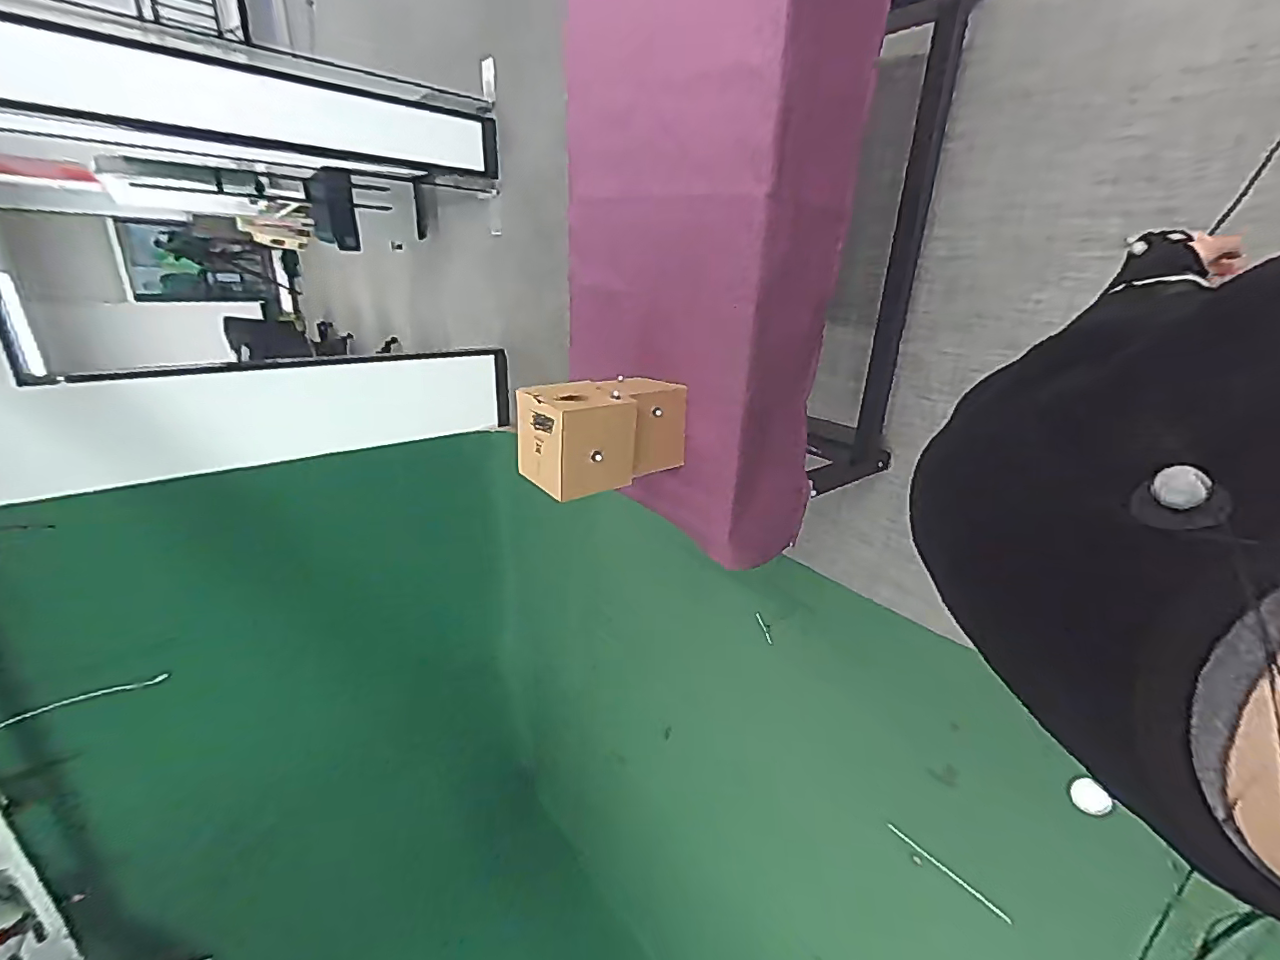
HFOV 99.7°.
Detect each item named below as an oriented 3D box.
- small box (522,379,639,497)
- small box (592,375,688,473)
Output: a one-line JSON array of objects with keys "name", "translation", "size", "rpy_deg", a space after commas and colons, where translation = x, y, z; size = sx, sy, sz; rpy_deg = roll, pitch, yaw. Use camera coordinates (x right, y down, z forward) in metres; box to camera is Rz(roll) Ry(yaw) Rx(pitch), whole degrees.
[{"name": "small box", "translation": [-0.117, -0.092, 1.063], "size": [0.168, 0.176, 0.179], "rpy_deg": [30, 125, 43]}, {"name": "small box", "translation": [-0.010, -0.131, 1.184], "size": [0.168, 0.176, 0.179], "rpy_deg": [23, 120, 46]}]
